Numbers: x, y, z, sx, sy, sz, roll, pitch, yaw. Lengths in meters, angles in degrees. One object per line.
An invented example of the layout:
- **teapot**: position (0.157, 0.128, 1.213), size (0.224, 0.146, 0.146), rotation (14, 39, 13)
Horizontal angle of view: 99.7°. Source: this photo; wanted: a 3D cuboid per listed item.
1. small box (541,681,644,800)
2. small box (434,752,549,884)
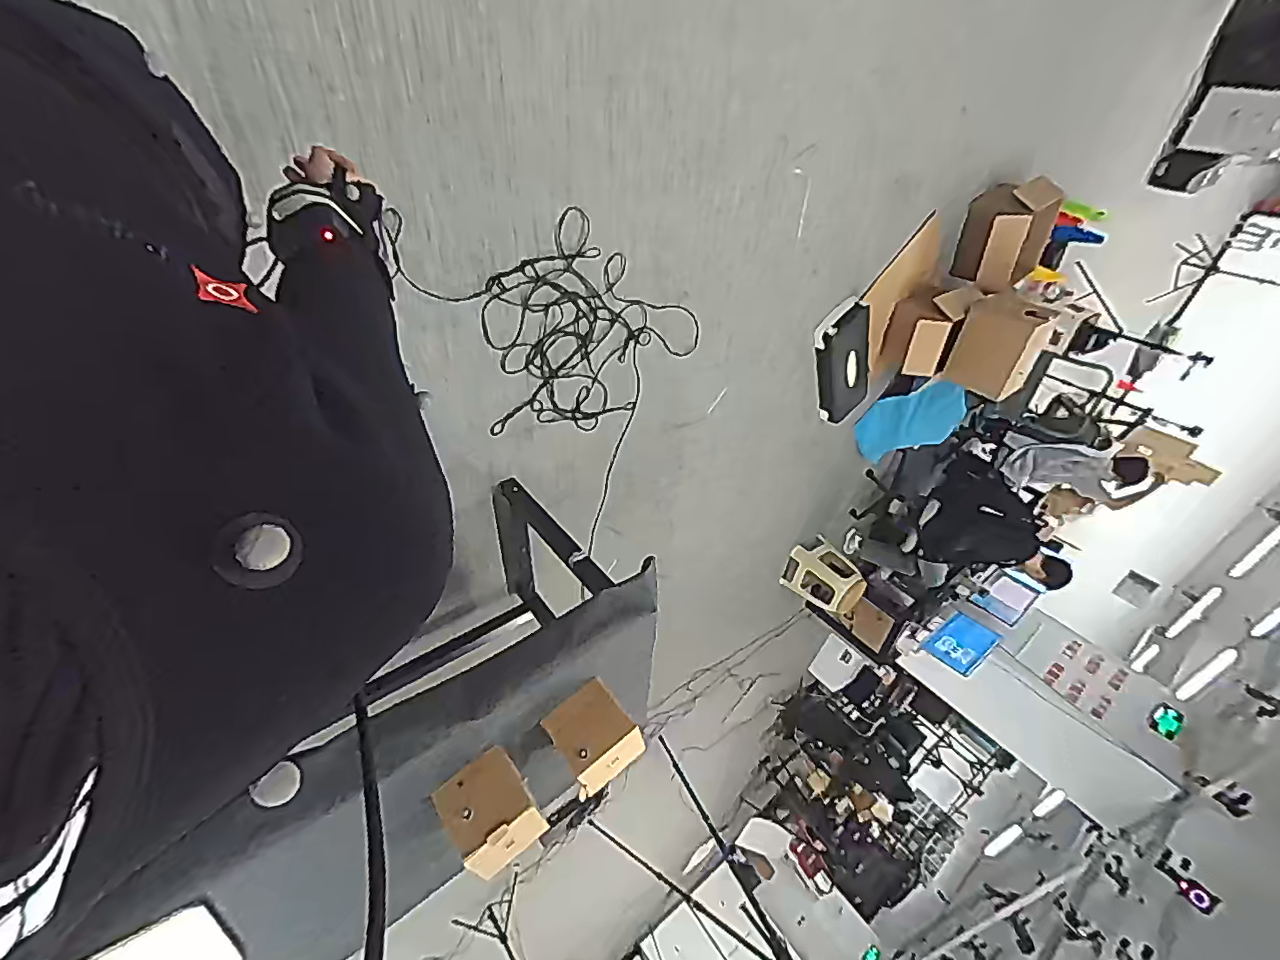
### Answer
- **small box**: position (-0.115, 0.632, 1.326), size (0.179, 0.176, 0.168), rotation (-33, 140, -21)
- **small box**: position (-0.329, 0.739, 1.196), size (0.168, 0.176, 0.179), rotation (-31, 140, -22)
